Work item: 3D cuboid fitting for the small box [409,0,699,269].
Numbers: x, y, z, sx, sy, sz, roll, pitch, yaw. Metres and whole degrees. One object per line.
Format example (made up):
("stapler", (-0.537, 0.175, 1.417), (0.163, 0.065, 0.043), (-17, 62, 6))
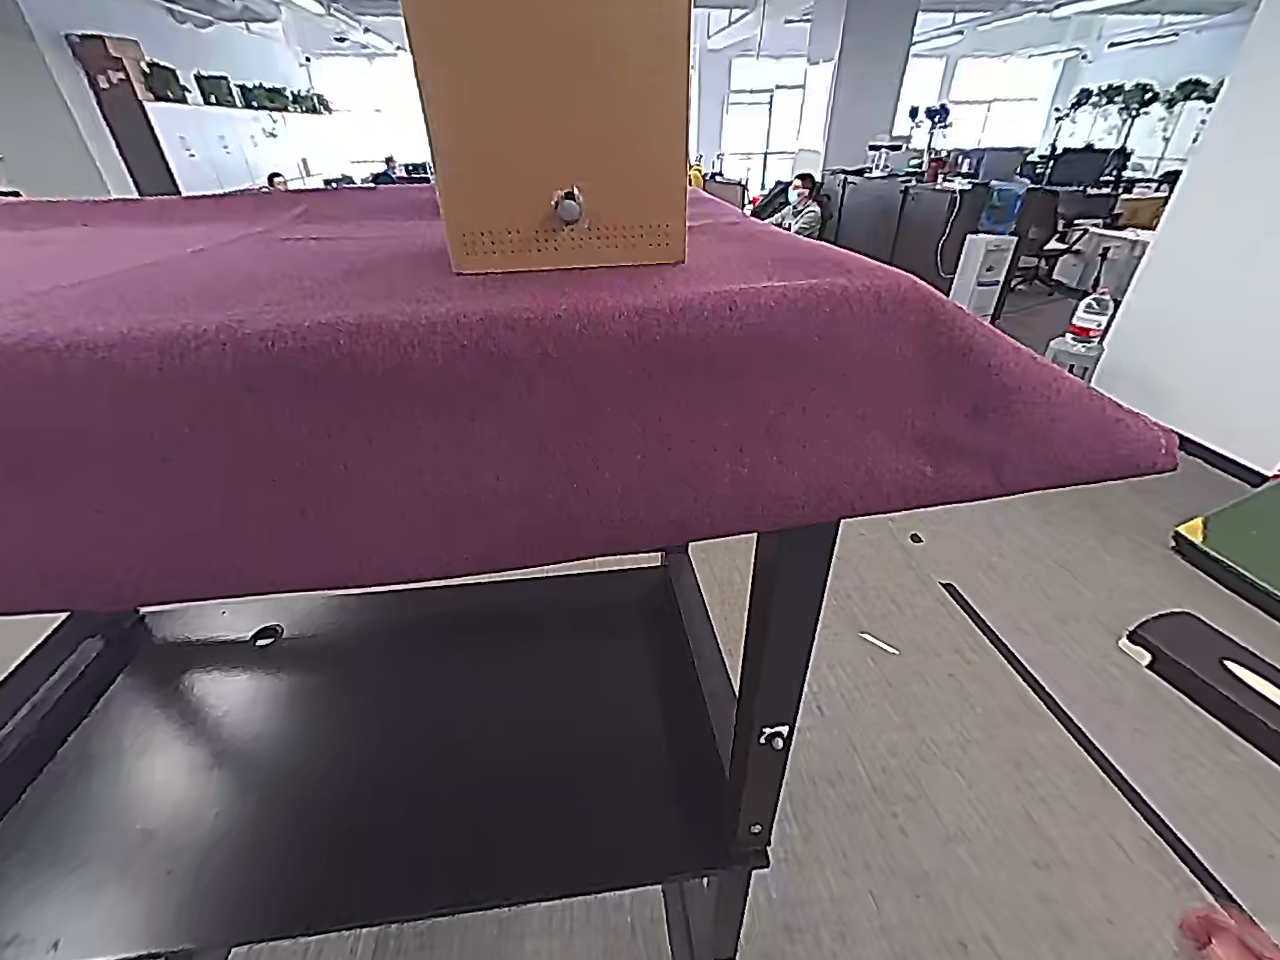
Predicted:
("small box", (-0.060, -0.270, 0.424), (0.179, 0.176, 0.168), (-5, 32, -7))
